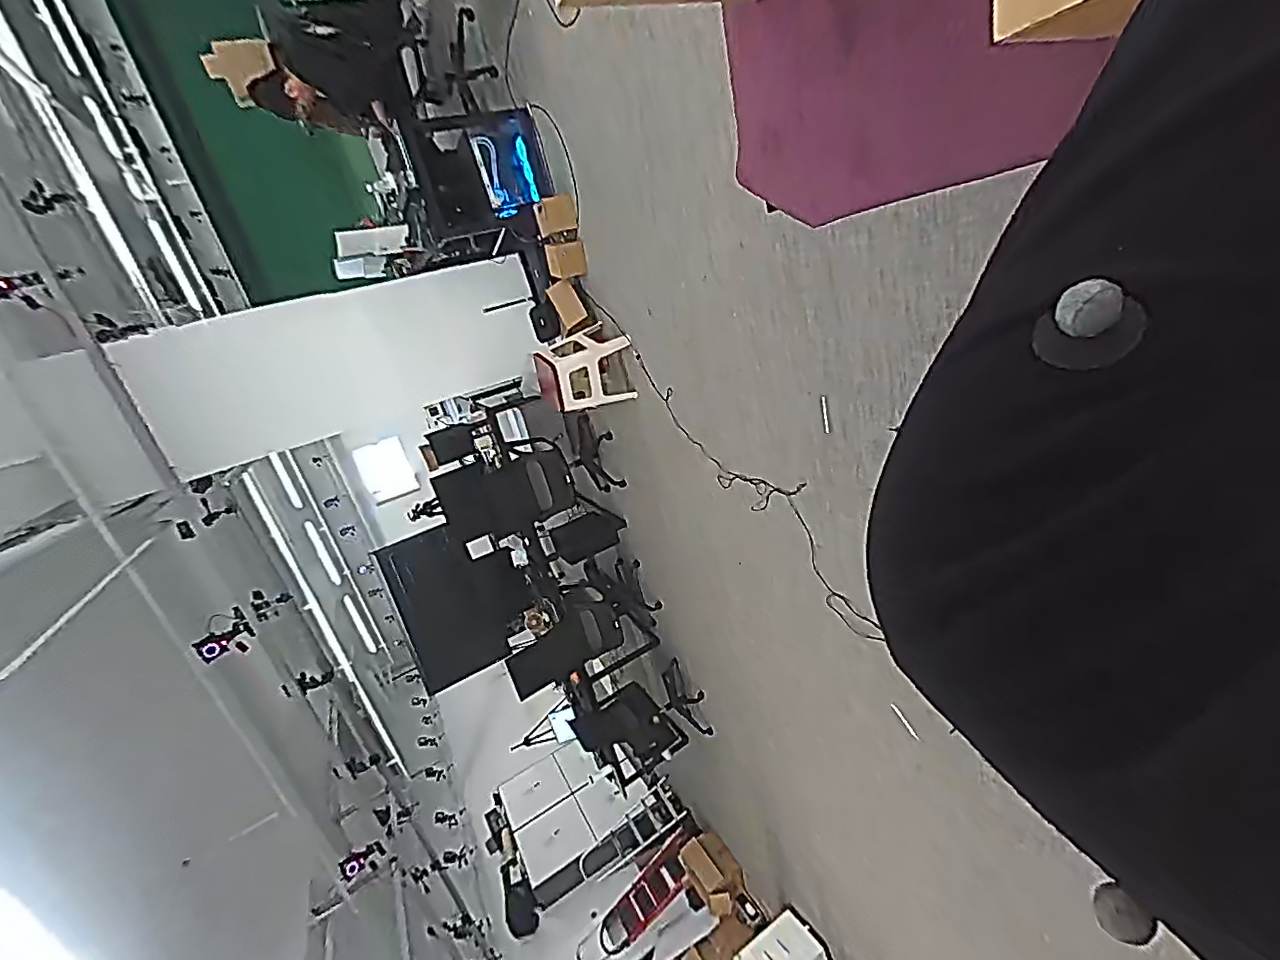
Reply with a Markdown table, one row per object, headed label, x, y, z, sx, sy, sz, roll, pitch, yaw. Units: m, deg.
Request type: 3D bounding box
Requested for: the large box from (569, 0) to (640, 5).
| label | x | y | z | sx | sy | sz | roll | pitch | yaw |
| --- | --- | --- | --- | --- | --- | --- | --- | --- | --- |
| large box | 0.060 | -0.743 | 0.468 | 0.320 | 0.320 | 0.408 | 19 | 131 | 60 |
